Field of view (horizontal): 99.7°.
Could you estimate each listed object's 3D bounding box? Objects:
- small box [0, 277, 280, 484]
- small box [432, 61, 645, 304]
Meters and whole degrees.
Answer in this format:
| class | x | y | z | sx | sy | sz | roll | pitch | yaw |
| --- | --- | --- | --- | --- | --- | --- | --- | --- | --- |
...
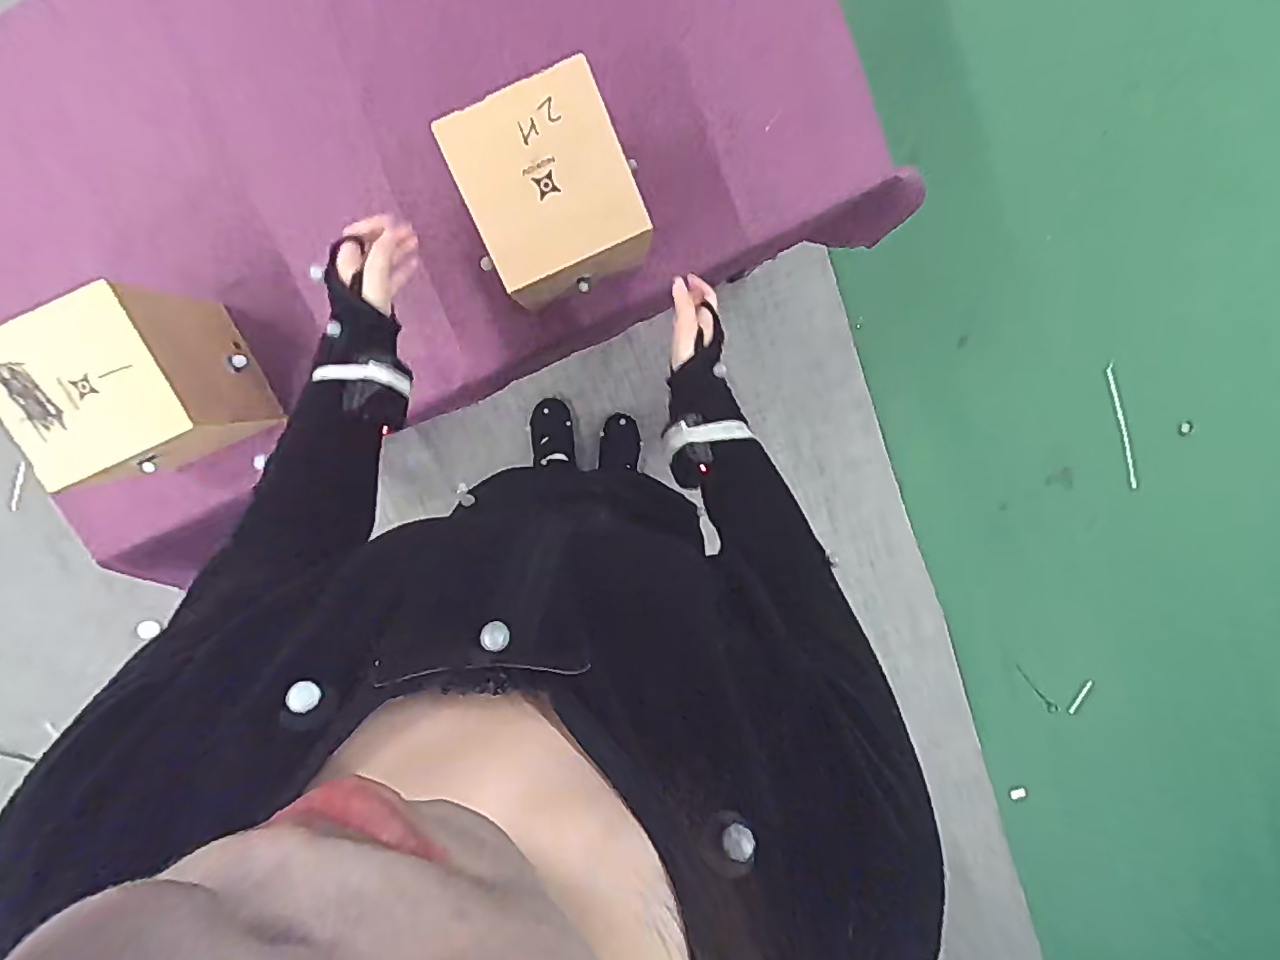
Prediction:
| class | x | y | z | sx | sy | sz | roll | pitch | yaw |
| --- | --- | --- | --- | --- | --- | --- | --- | --- | --- |
| small box | -0.584 | -0.112 | 0.636 | 0.179 | 0.176 | 0.168 | -24 | 101 | 1 |
| small box | -0.102 | -0.316 | 0.622 | 0.168 | 0.176 | 0.179 | -23 | 101 | 1 |
